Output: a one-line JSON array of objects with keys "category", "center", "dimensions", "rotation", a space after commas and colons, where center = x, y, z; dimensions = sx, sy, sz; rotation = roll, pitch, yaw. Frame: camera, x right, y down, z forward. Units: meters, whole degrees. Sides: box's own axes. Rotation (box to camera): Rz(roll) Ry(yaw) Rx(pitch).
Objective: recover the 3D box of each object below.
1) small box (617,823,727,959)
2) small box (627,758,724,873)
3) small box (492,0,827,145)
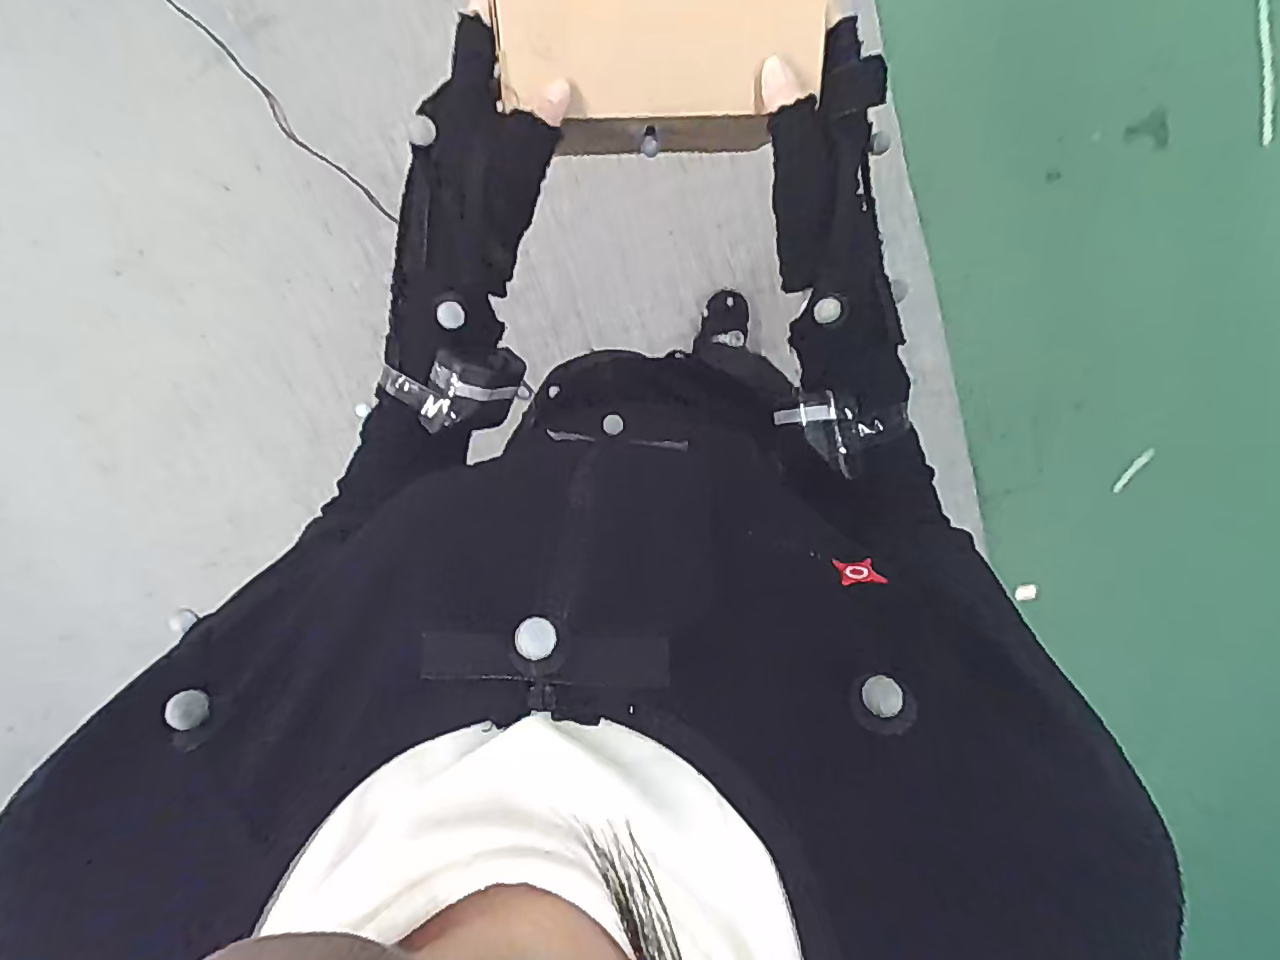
[{"category": "small box", "center": [0.068, 0.832, 1.097], "dimensions": [0.168, 0.176, 0.179], "rotation": [-19, 101, 12]}, {"category": "small box", "center": [0.088, 0.781, 1.251], "dimensions": [0.179, 0.176, 0.168], "rotation": [-18, 102, 11]}, {"category": "small box", "center": [0.007, -0.316, 0.335], "dimensions": [0.179, 0.176, 0.168], "rotation": [-3, 116, -1]}]
